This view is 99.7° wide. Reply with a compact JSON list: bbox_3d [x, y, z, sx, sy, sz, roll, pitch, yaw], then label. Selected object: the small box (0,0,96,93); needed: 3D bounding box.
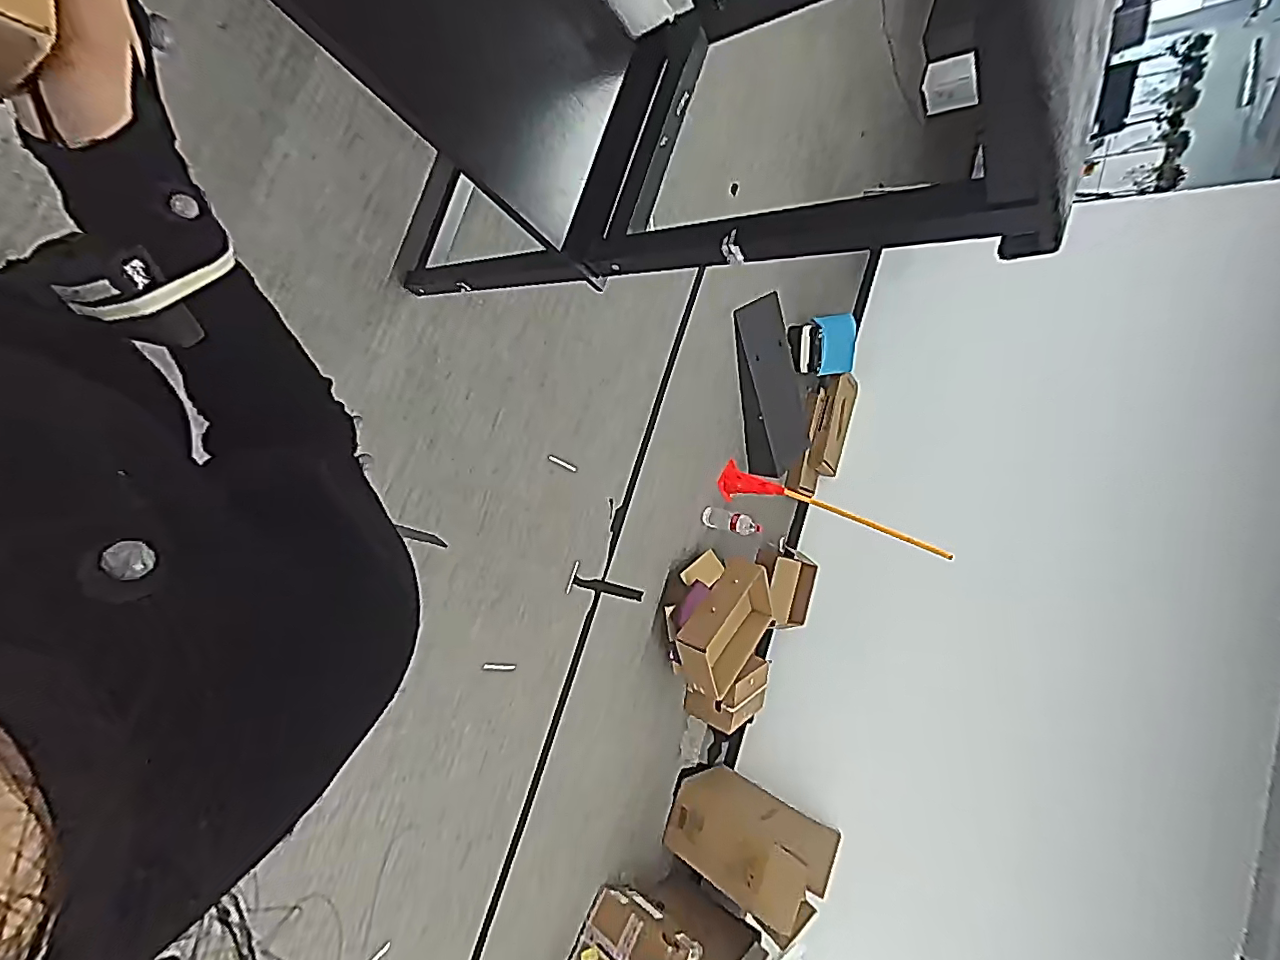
[{"bbox_3d":[-0.287,-0.251,0.154,0.168,0.176,0.179,-5,111,-53],"label":"small box"}]
